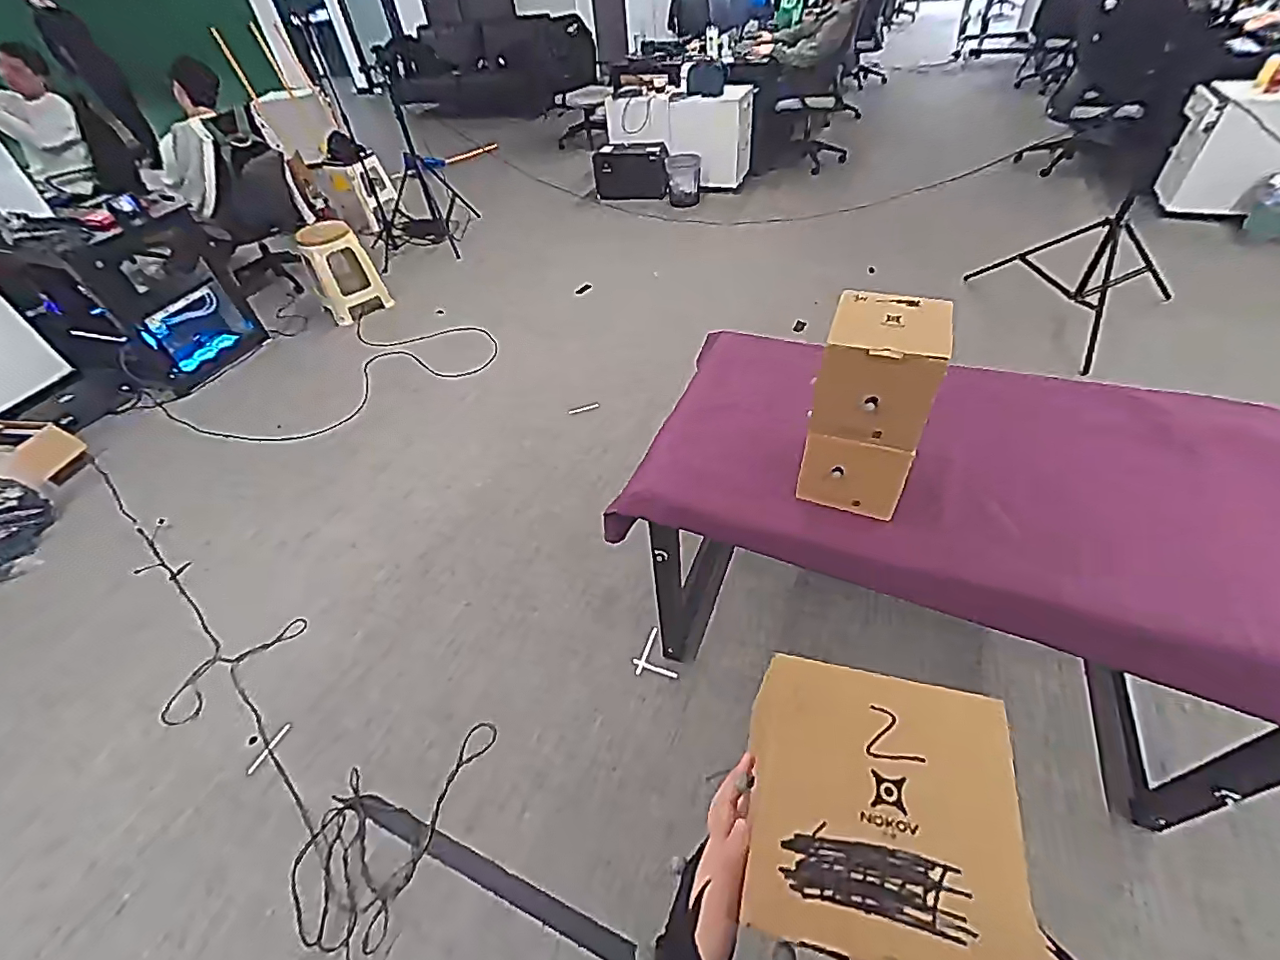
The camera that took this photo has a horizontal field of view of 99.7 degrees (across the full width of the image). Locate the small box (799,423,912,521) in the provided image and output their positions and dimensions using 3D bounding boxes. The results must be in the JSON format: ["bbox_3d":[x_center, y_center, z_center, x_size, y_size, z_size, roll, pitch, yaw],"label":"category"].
[{"bbox_3d":[0.394,-0.053,0.983,0.168,0.176,0.179,15,48,20],"label":"small box"}]

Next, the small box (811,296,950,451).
[{"bbox_3d":[0.381,-0.171,0.870,0.168,0.176,0.179,14,49,18],"label":"small box"}]
